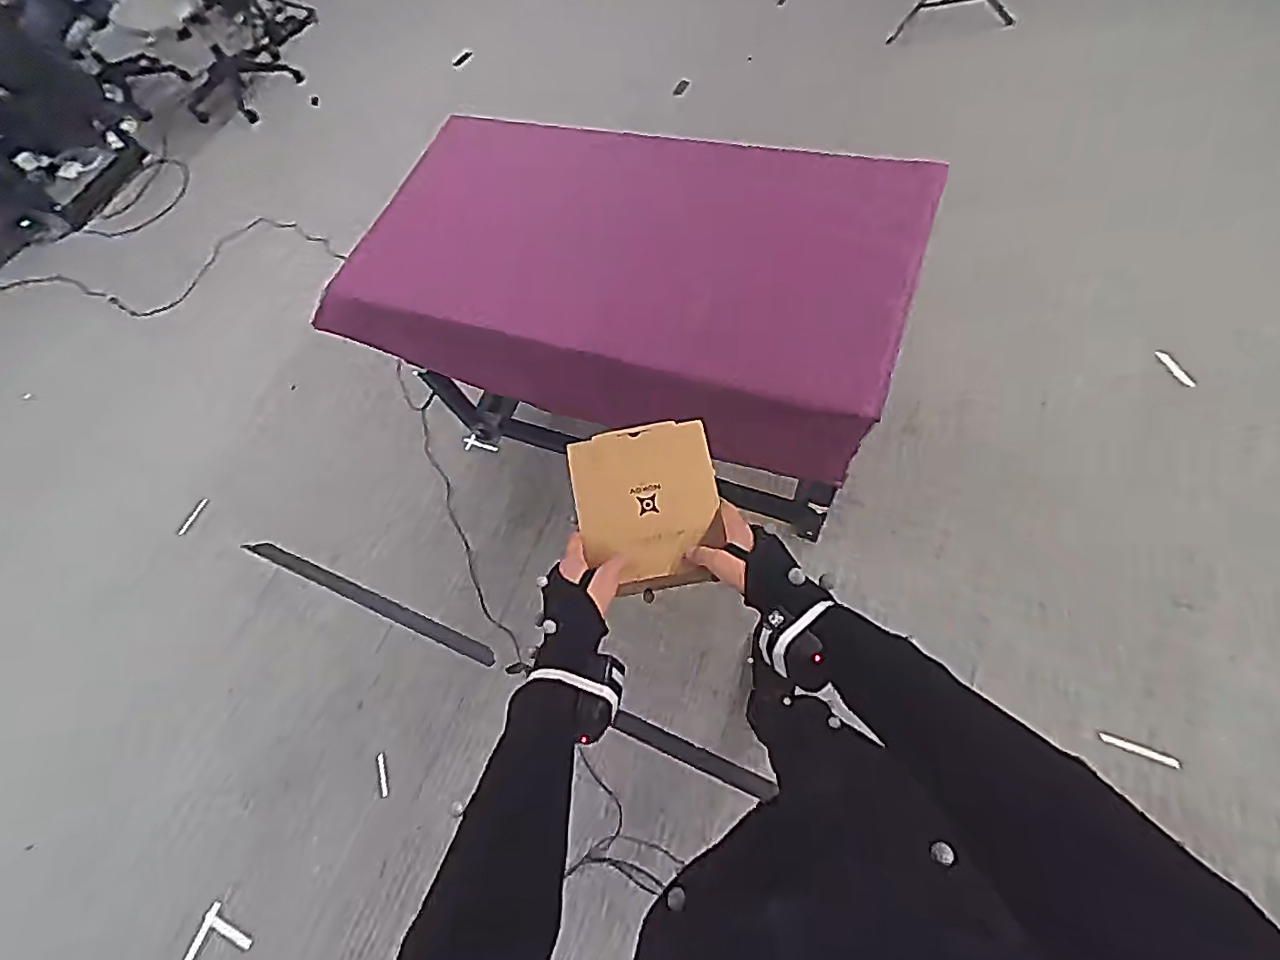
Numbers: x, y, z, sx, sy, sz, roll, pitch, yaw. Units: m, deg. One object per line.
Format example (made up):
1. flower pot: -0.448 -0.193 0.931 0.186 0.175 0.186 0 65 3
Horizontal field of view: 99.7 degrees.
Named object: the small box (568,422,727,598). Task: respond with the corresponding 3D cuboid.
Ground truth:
1. small box: 0.006 0.047 0.707 0.168 0.176 0.179 -10 73 -2
